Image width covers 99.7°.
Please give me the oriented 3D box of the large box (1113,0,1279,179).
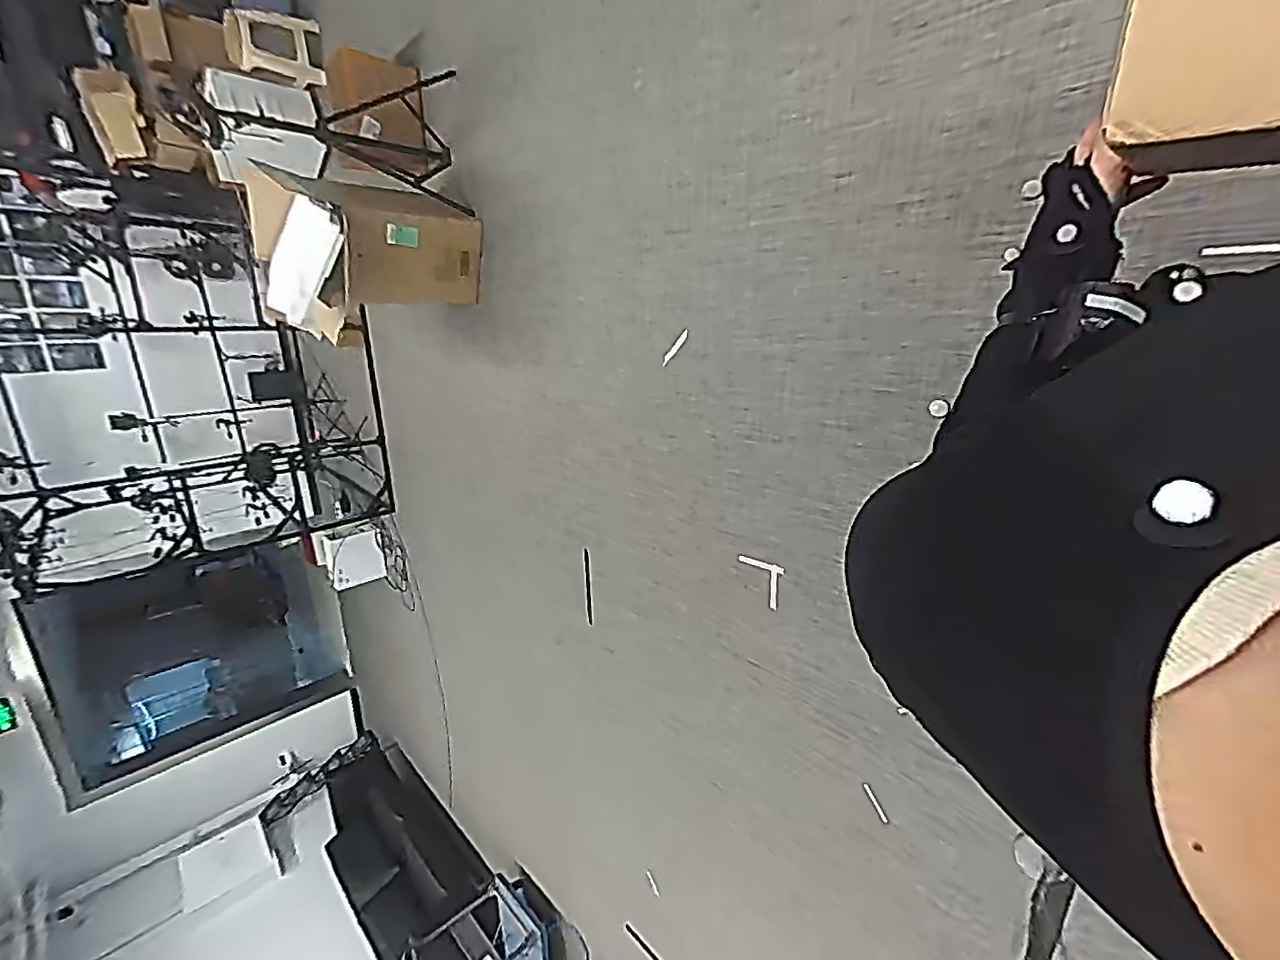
[{"bbox_3d":[0.441,-0.301,0.164,0.408,0.320,0.320,15,120,38],"label":"large box"}]
